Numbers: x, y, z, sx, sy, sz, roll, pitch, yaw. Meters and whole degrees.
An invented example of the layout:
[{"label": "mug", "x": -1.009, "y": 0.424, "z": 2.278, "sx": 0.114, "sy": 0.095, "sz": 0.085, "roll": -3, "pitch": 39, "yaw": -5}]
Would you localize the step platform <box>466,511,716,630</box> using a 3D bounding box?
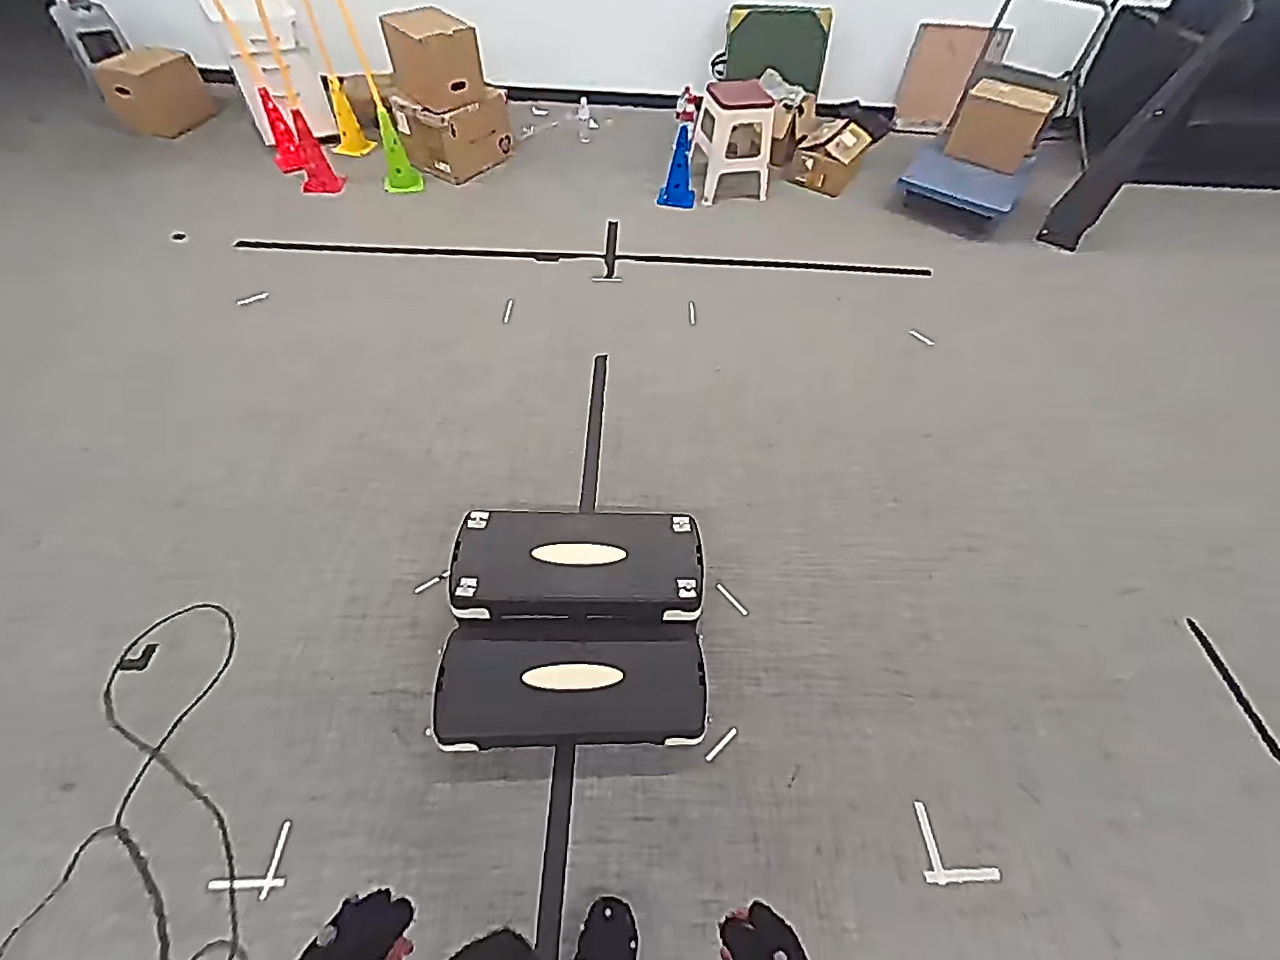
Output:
[{"label": "step platform", "x": -0.131, "y": 0.250, "z": 1.521, "sx": 0.684, "sy": 0.204, "sz": 0.286, "roll": 1, "pitch": 53, "yaw": -4}]
